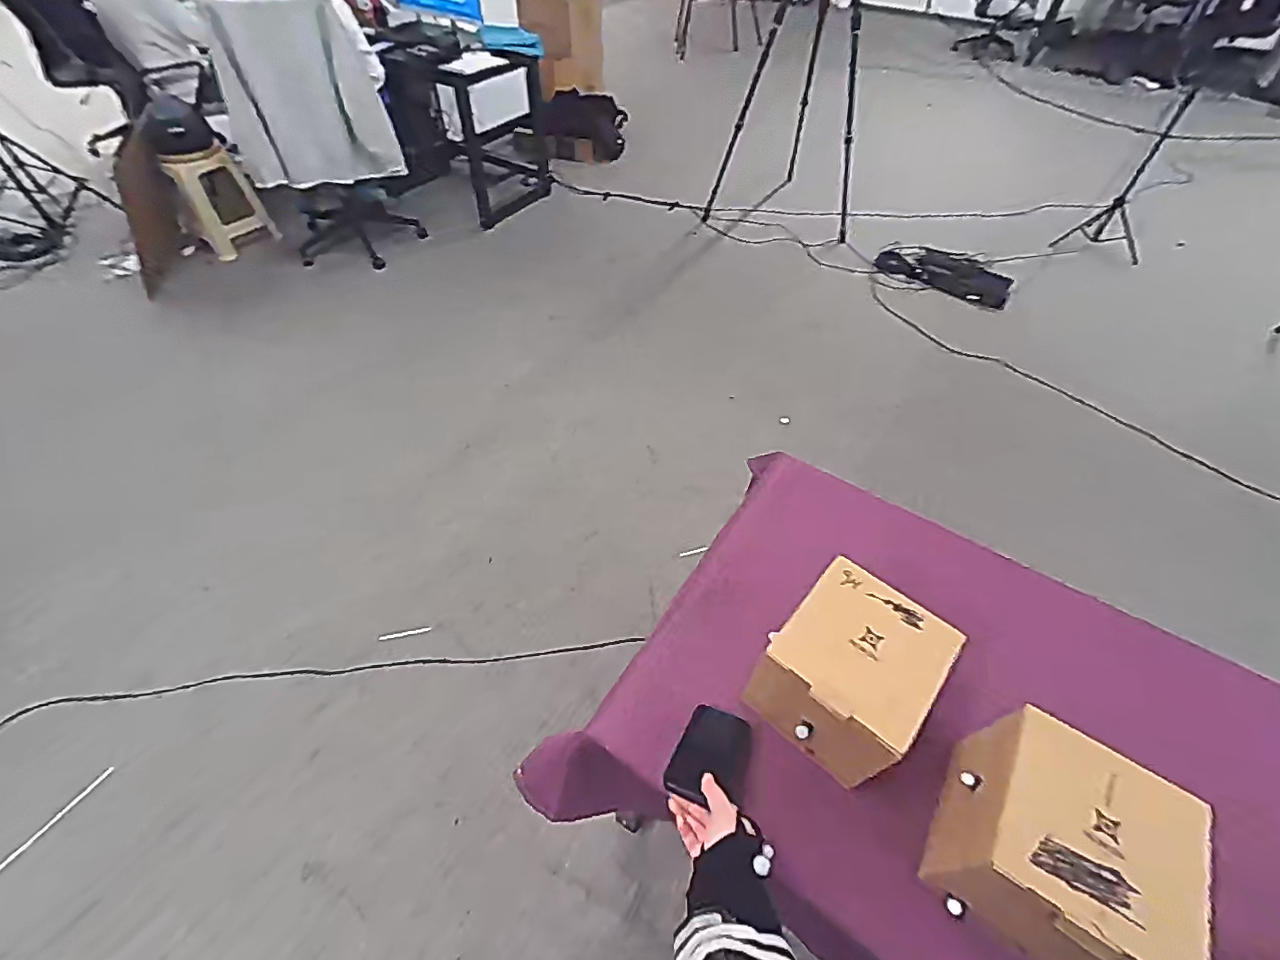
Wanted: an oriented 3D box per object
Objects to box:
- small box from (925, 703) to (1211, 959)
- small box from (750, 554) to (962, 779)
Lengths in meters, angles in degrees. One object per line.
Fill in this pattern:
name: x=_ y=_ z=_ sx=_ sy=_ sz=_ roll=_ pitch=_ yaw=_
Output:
small box: x=0.425 y=0.376 z=0.560 sx=0.168 sy=0.176 sz=0.179 roll=29 pitch=55 yaw=21
small box: x=0.254 y=0.235 z=0.674 sx=0.168 sy=0.176 sz=0.179 roll=35 pitch=58 yaw=25
